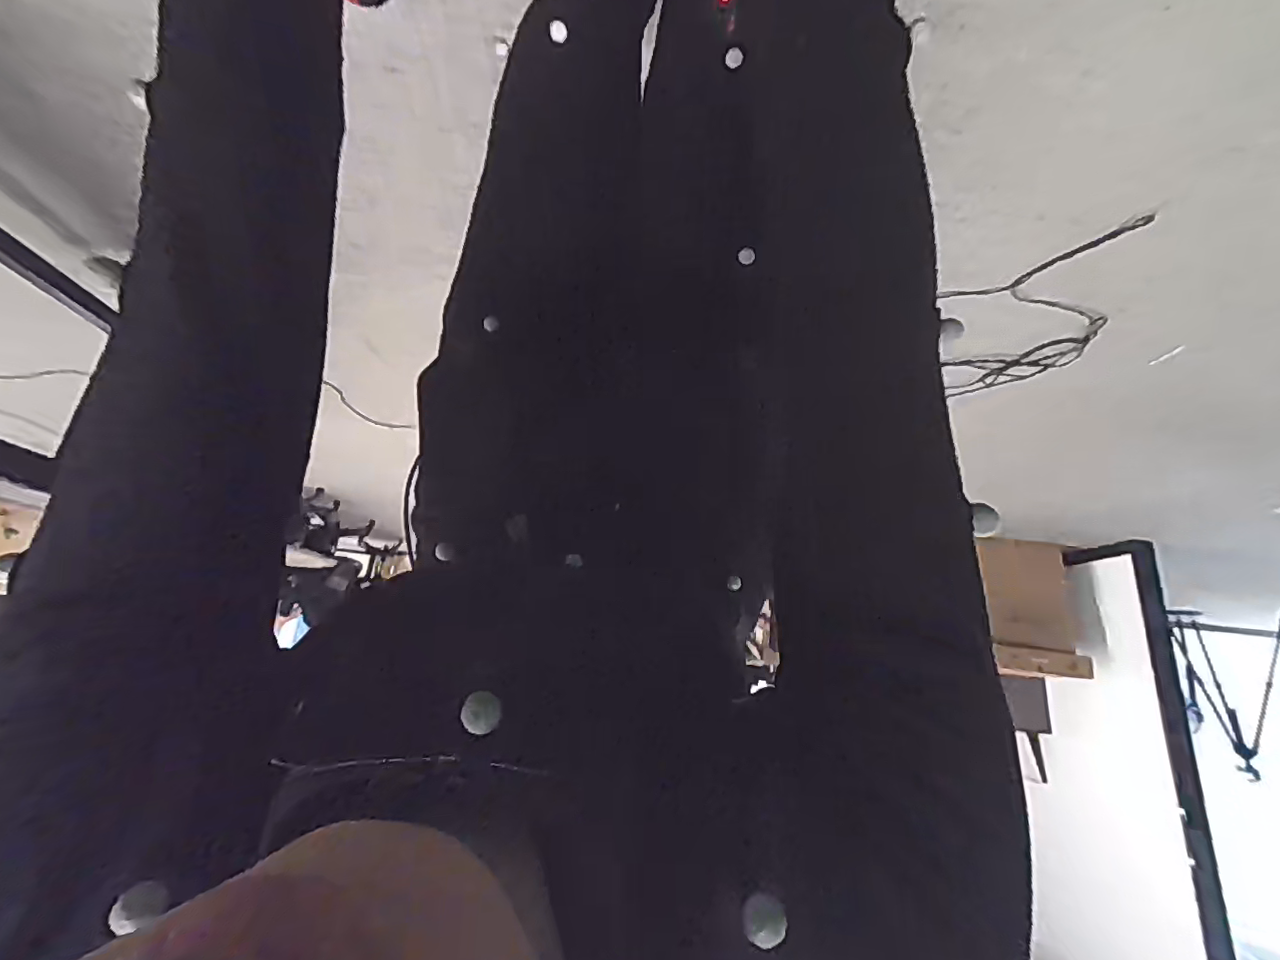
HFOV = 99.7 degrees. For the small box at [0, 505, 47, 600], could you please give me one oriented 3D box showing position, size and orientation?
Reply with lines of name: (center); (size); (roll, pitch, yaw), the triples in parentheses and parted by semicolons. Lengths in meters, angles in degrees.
small box: (-1.297, 0.123, 1.012); (0.179, 0.176, 0.168); (6, 162, 0)
